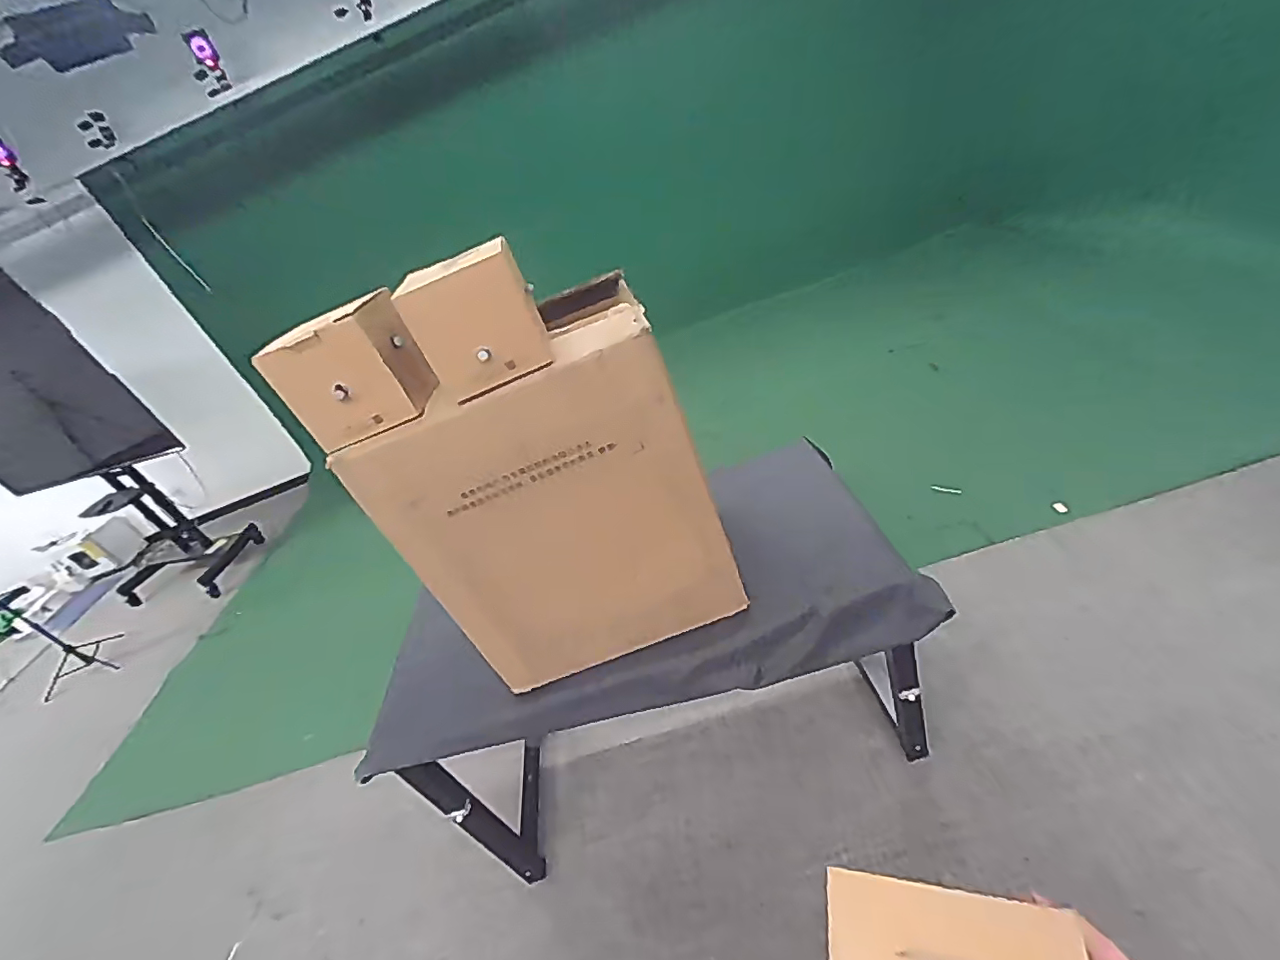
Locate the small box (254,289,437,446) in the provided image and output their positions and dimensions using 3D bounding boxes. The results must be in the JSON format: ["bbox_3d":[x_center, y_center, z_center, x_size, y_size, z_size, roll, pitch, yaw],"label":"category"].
[{"bbox_3d":[-0.448,-0.173,0.860,0.168,0.176,0.179,-21,32,5],"label":"small box"}]

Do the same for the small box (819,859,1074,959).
[{"bbox_3d":[0.232,0.419,0.417,0.168,0.176,0.179,-4,51,21],"label":"small box"}]
